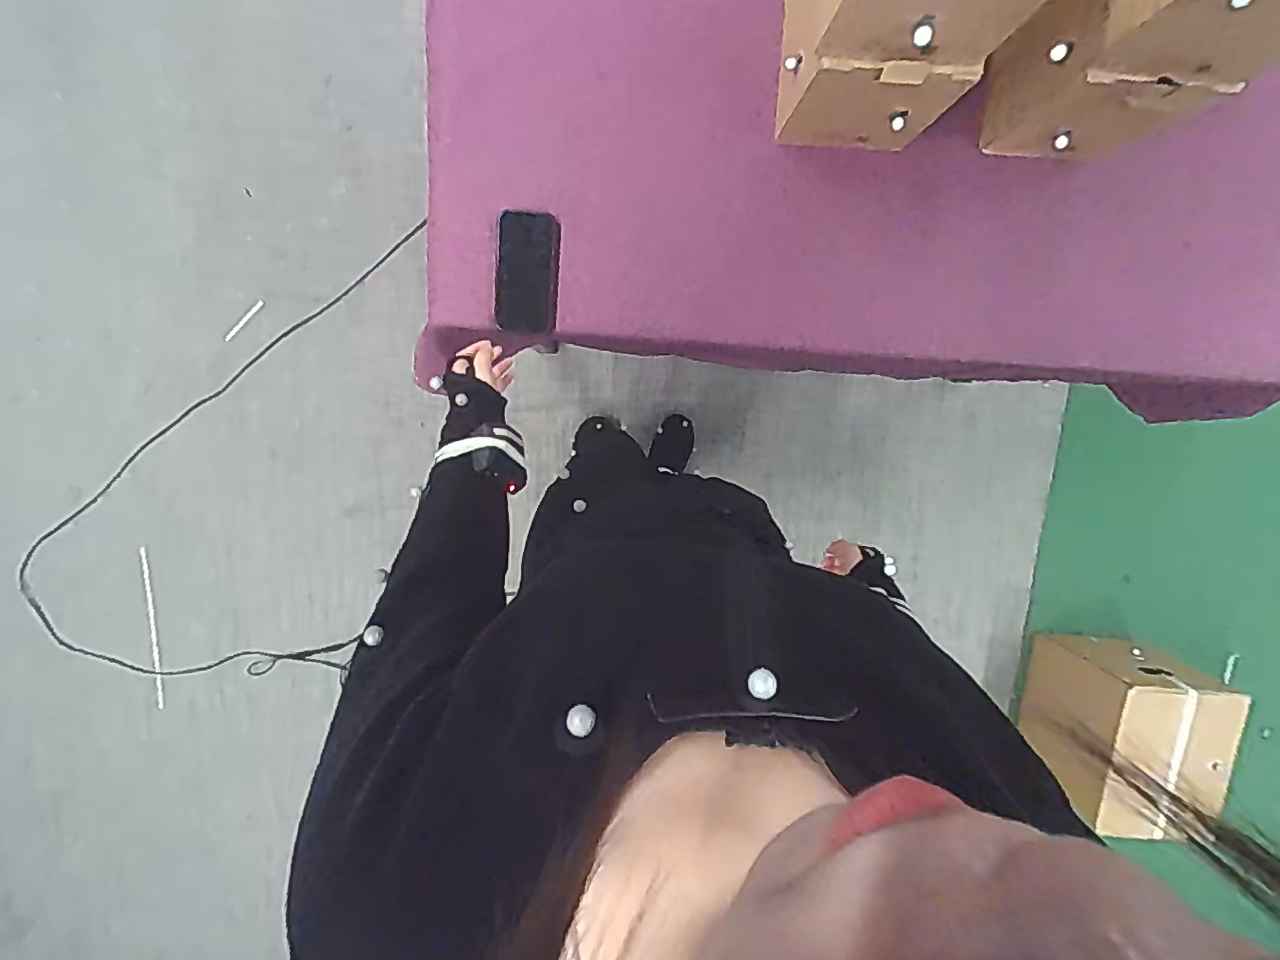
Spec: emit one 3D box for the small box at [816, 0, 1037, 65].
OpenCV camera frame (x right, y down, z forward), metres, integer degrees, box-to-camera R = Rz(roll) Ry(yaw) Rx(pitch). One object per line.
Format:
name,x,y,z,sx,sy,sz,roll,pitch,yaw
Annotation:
small box,0.252,-0.481,0.431,0.168,0.176,0.179,2,99,-1

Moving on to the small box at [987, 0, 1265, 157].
small box,0.524,-0.493,0.601,0.168,0.176,0.179,3,100,-1

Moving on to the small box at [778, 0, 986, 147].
small box,0.258,-0.497,0.596,0.168,0.176,0.179,2,99,-2
